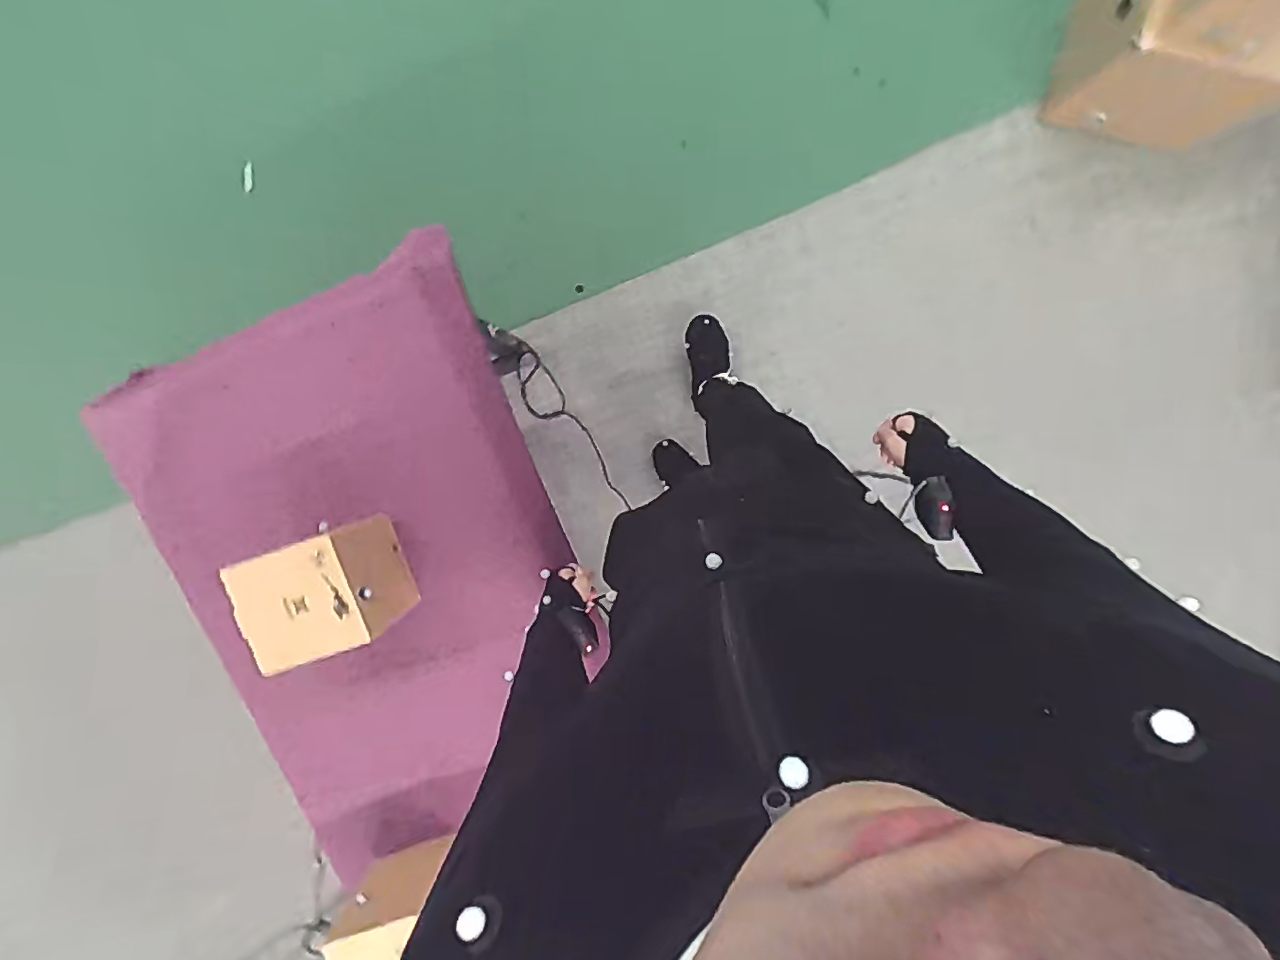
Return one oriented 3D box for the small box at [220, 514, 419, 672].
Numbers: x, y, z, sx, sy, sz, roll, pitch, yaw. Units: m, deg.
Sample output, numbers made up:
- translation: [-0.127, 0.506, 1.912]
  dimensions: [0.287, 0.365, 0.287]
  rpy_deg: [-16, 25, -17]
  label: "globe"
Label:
- translation: [-0.480, 0.165, 0.837]
  dimensions: [0.179, 0.176, 0.168]
  rpy_deg: [-18, 97, 5]
  label: "small box"
